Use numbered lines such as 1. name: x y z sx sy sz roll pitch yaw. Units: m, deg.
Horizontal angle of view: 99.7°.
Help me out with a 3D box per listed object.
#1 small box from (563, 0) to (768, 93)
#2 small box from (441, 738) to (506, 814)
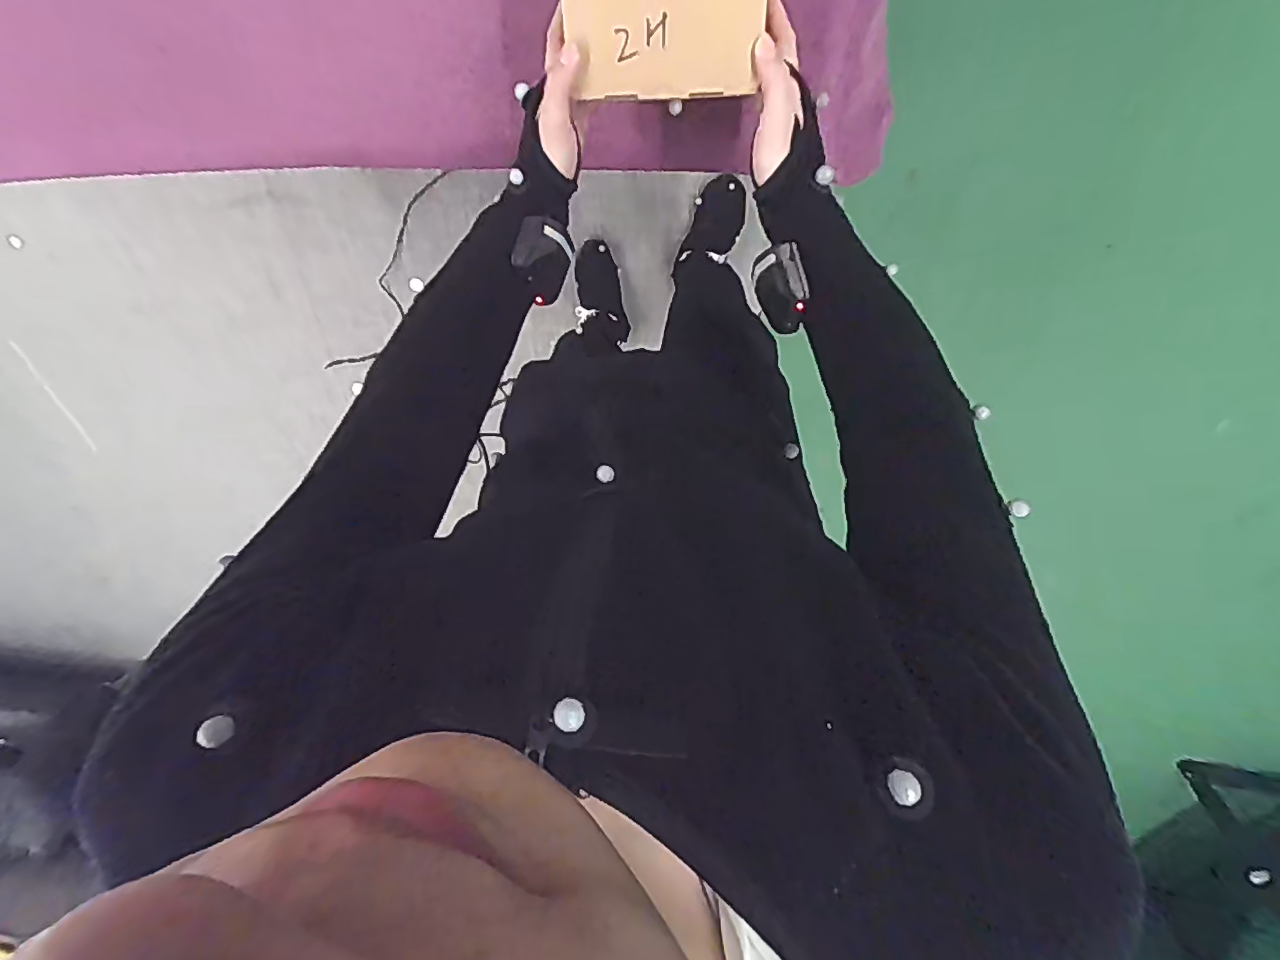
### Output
1. small box: 0.030 -0.449 0.473 0.168 0.176 0.179 5 128 8
2. small box: -0.576 1.033 1.892 0.168 0.176 0.179 10 128 3
